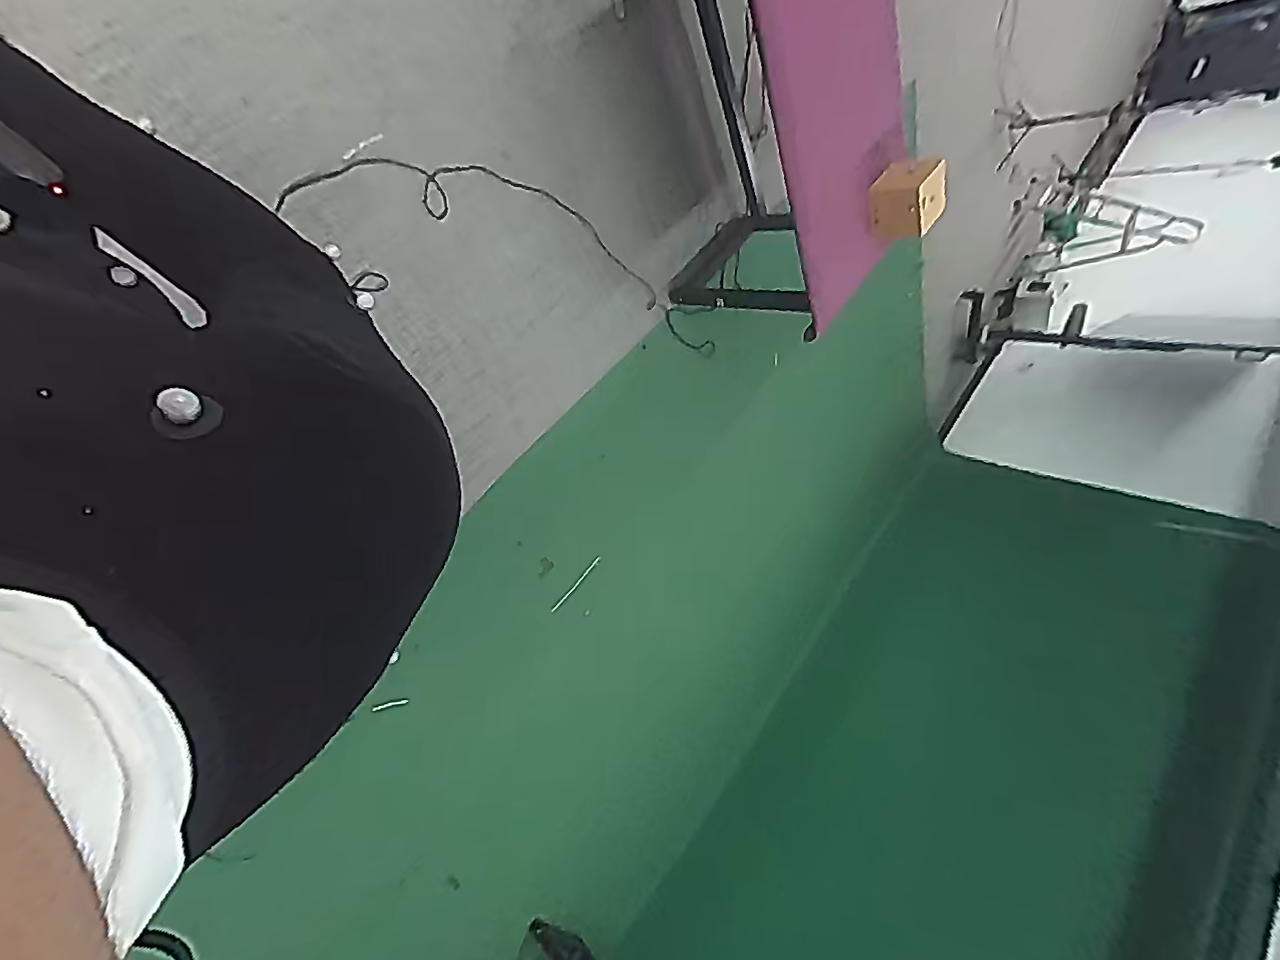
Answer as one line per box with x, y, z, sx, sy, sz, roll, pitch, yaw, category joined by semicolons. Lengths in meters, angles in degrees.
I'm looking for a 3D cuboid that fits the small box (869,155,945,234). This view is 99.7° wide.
0.865;-0.921;1.752;0.179;0.176;0.168;-50;134;-20;small box
